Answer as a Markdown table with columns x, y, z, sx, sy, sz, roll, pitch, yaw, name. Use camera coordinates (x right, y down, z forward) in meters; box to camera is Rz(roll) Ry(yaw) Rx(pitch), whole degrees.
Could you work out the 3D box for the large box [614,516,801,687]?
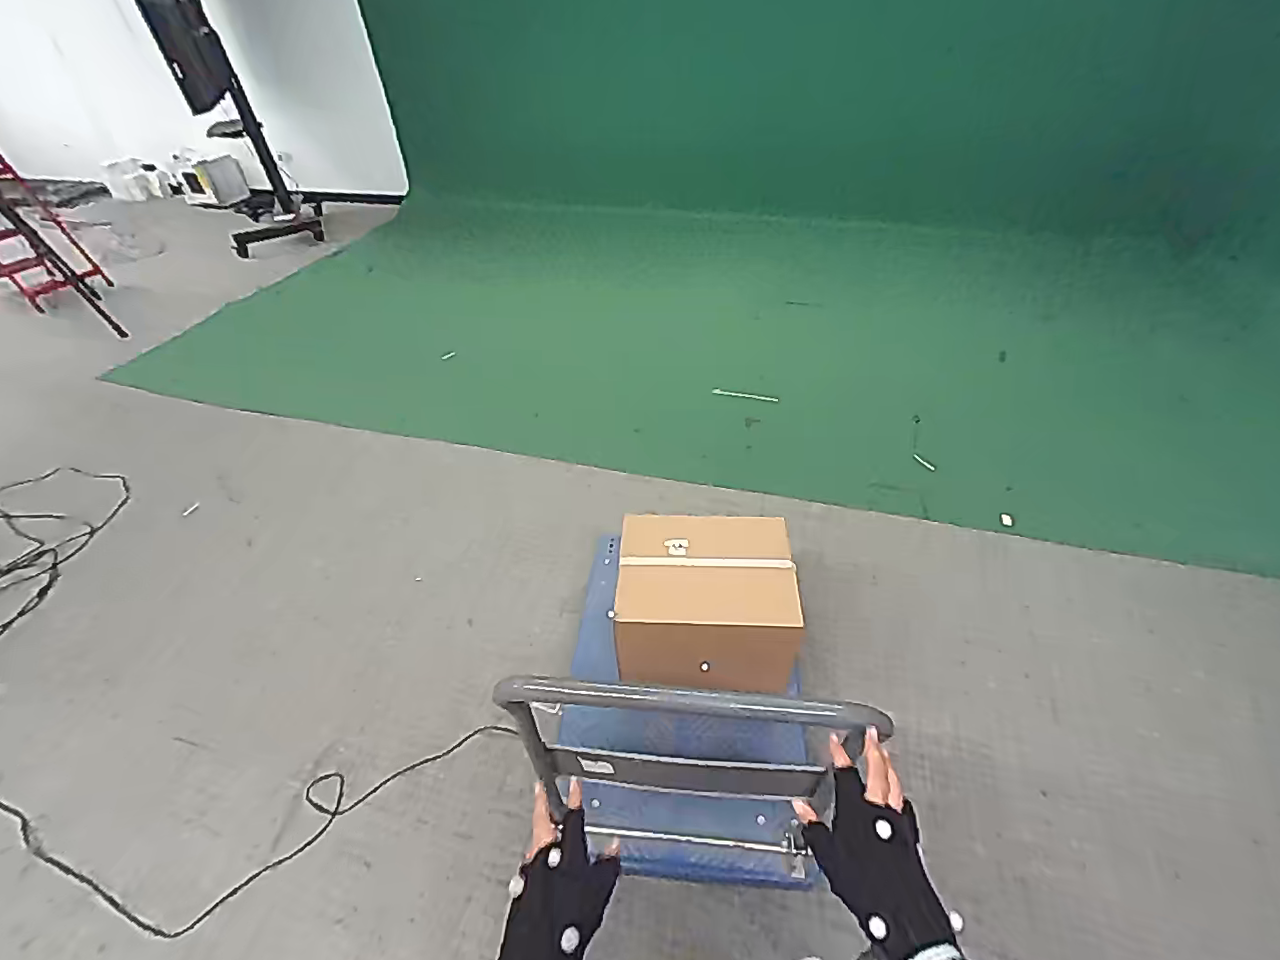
| x | y | z | sx | sy | sz | roll | pitch | yaw | name |
| --- | --- | --- | --- | --- | --- | --- | --- | --- | --- |
| 0.158 | 0.305 | 1.357 | 0.408 | 0.320 | 0.320 | 0 | 43 | 5 | large box |
